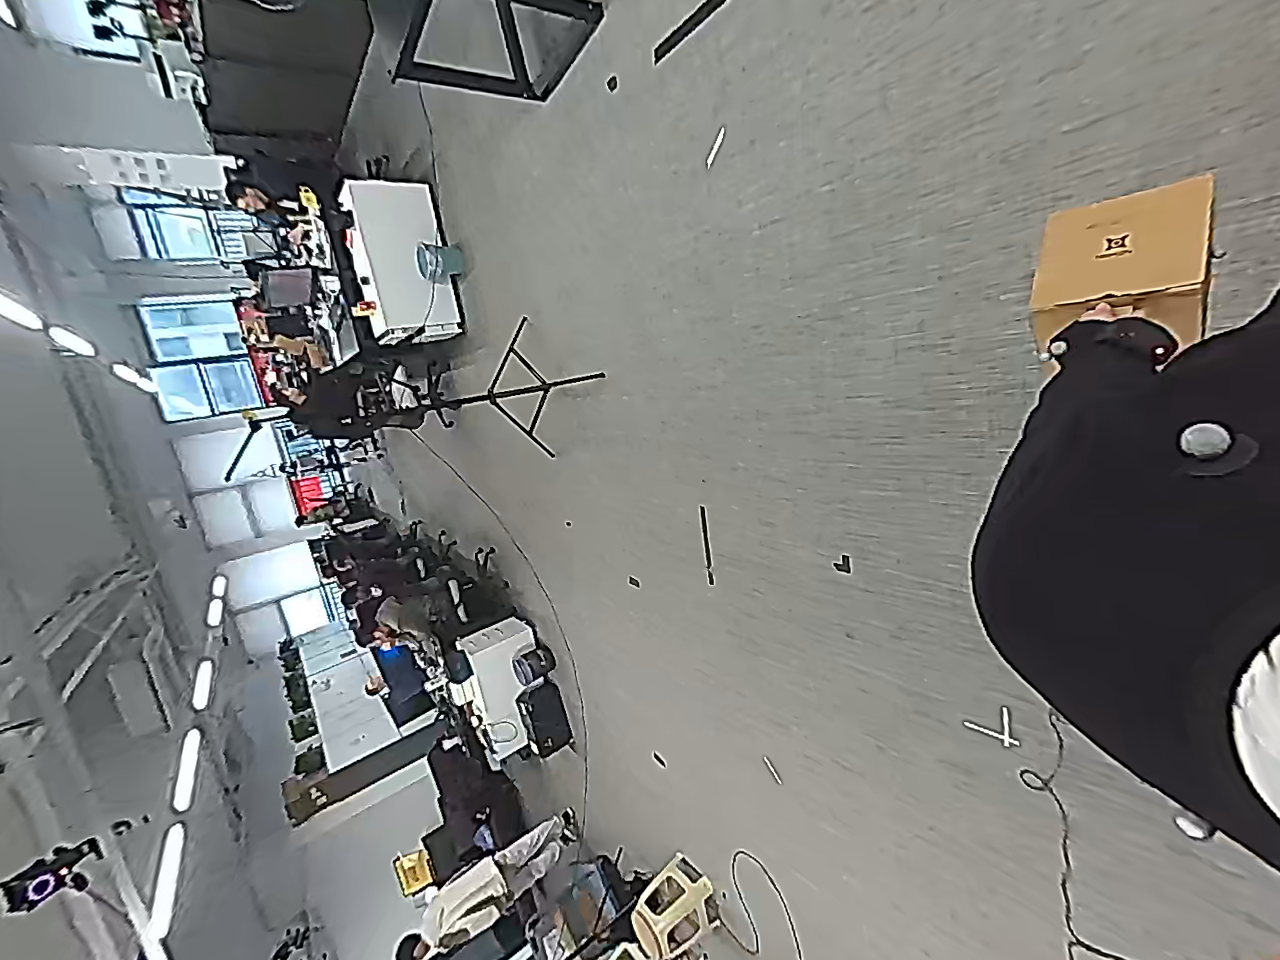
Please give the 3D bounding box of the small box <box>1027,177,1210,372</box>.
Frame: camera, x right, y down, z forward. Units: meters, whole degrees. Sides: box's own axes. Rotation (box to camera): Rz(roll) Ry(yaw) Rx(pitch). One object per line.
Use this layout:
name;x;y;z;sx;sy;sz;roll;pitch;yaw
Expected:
small box;0.659;-0.262;0.744;0.168;0.176;0.179;4;65;46
